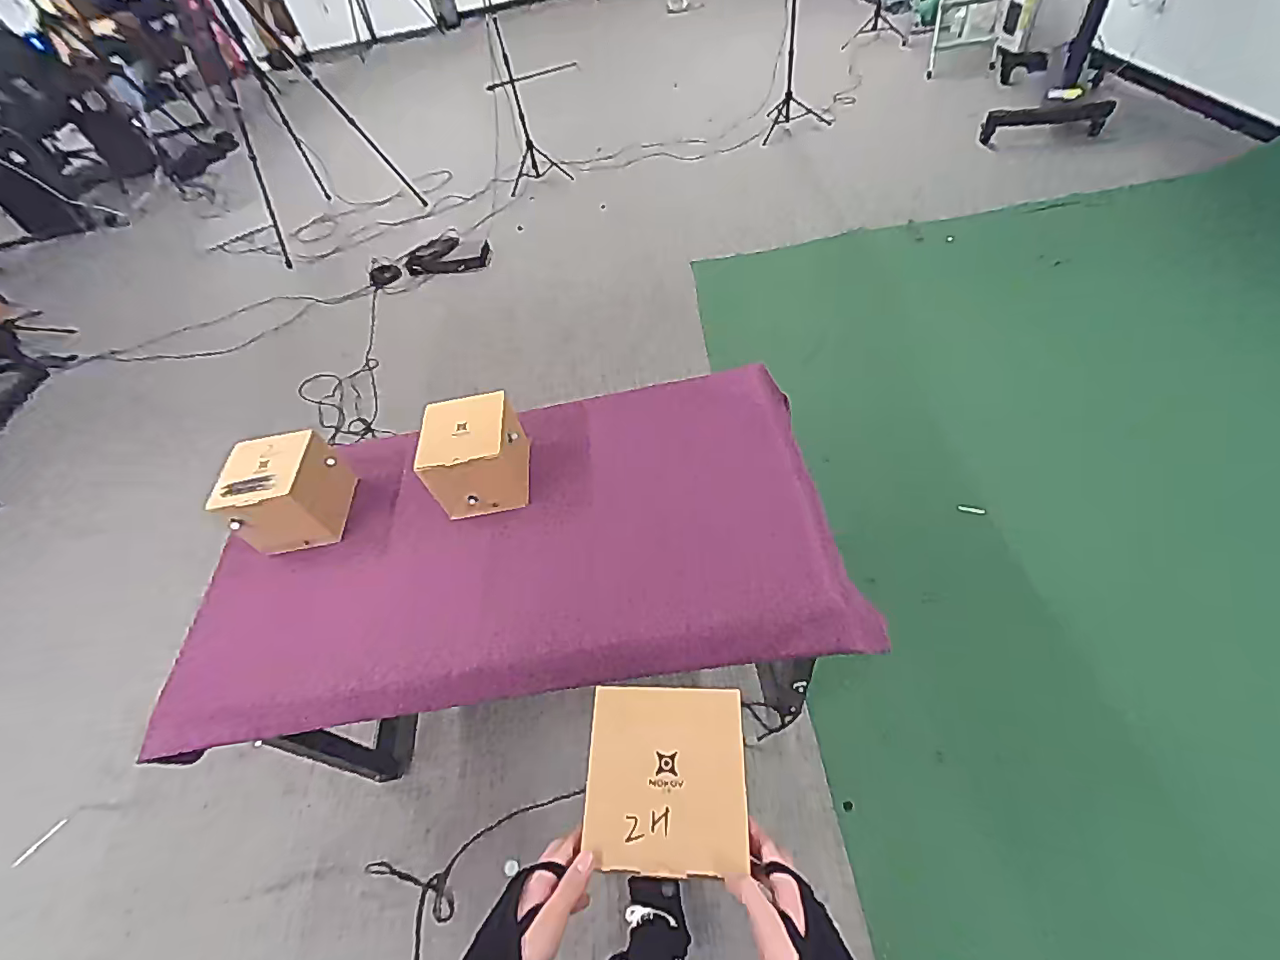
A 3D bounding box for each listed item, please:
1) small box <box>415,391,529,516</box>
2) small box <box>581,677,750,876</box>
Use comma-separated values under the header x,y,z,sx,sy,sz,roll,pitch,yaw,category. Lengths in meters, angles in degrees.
x,y,z,sx,sy,sz,roll,pitch,yaw,category
-0.329,-0.051,1.098,0.168,0.176,0.179,-10,52,2,small box
0.036,0.345,0.628,0.168,0.176,0.179,-1,54,7,small box
